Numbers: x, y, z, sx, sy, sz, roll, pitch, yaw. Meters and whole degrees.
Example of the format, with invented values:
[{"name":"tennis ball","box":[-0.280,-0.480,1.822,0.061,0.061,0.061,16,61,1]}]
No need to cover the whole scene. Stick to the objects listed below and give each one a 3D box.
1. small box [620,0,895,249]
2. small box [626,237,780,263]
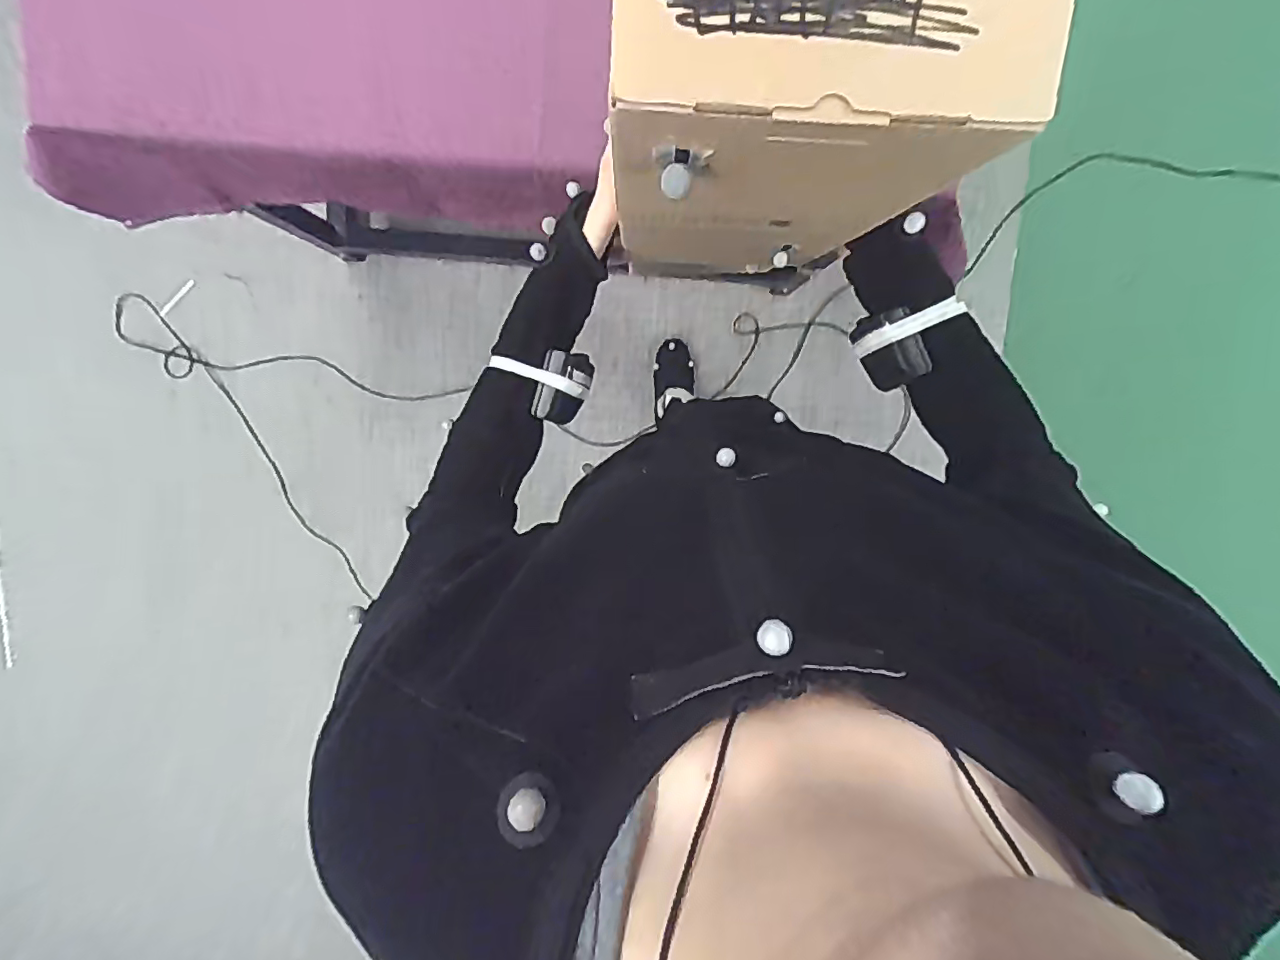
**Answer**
[{"name":"small box","box":[0.073,-0.288,0.427,0.179,0.176,0.168,1,102,-1]},{"name":"small box","box":[0.073,-0.336,0.583,0.179,0.176,0.168,-2,102,-1]}]
